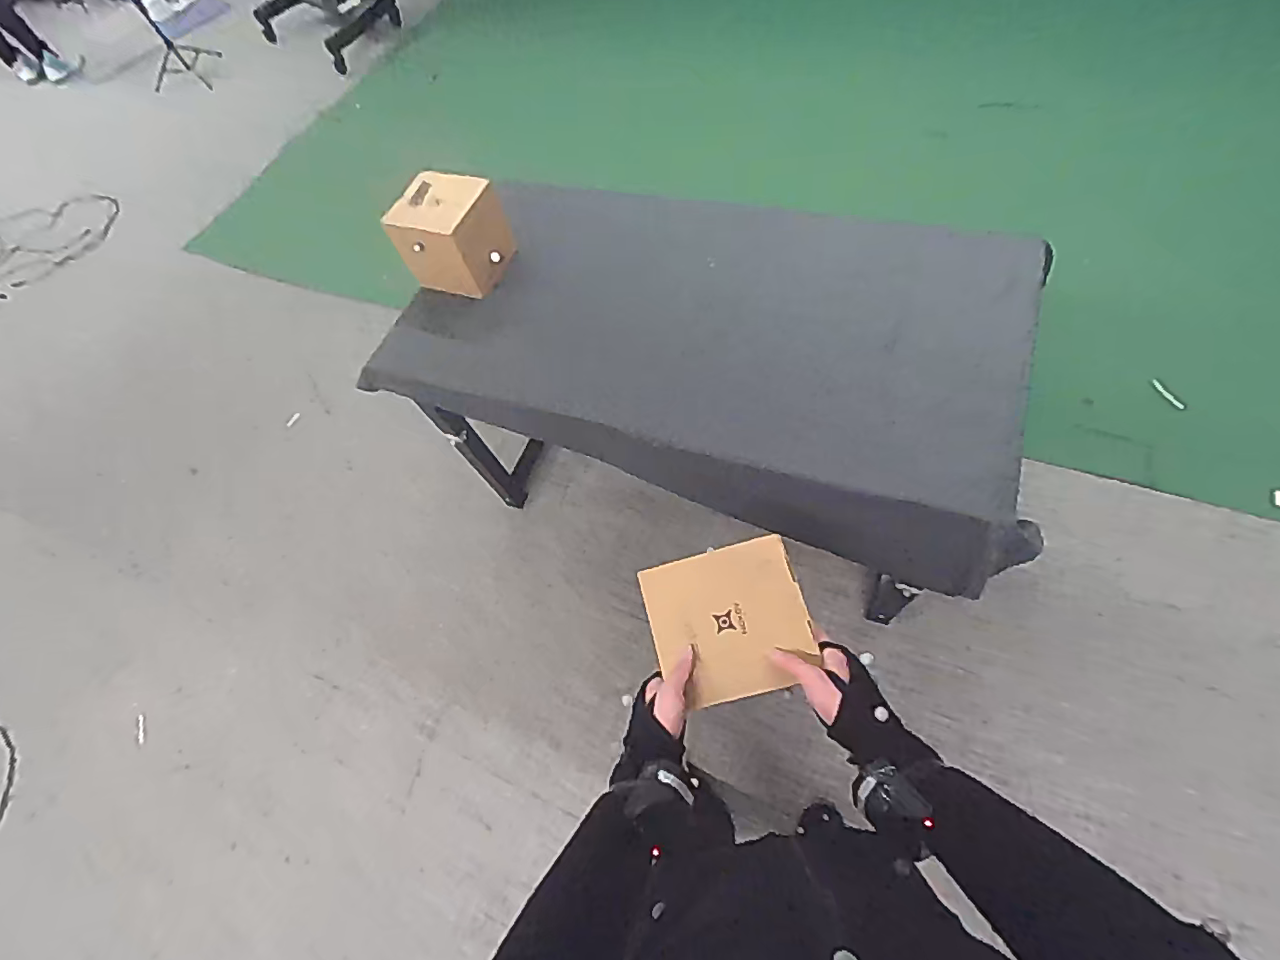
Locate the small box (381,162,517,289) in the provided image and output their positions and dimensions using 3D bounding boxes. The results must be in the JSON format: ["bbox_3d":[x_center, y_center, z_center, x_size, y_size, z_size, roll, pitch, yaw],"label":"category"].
[{"bbox_3d":[-0.389,-0.528,1.131,0.179,0.176,0.168,17,67,15],"label":"small box"}]

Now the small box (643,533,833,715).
[{"bbox_3d":[0.117,0.183,0.674,0.179,0.176,0.168,-17,67,5],"label":"small box"}]
